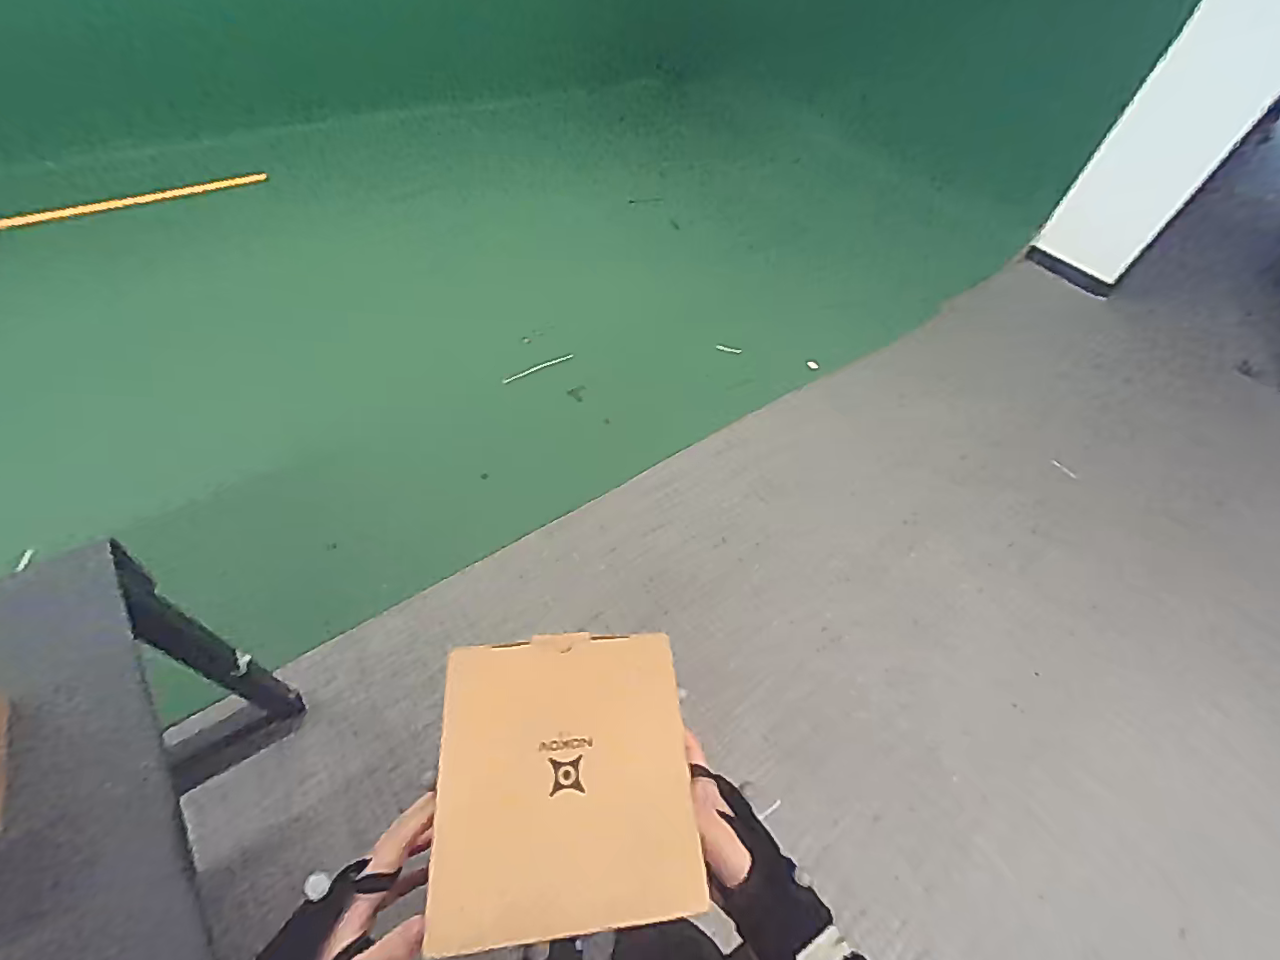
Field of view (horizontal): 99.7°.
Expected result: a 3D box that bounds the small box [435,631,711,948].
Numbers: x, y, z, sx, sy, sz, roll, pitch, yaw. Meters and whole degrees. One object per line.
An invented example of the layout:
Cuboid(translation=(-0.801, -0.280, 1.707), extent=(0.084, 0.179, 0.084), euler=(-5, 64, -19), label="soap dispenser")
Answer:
Cuboid(translation=(-0.053, 0.237, 0.427), extent=(0.168, 0.176, 0.179), euler=(-1, 53, -9), label="small box")
